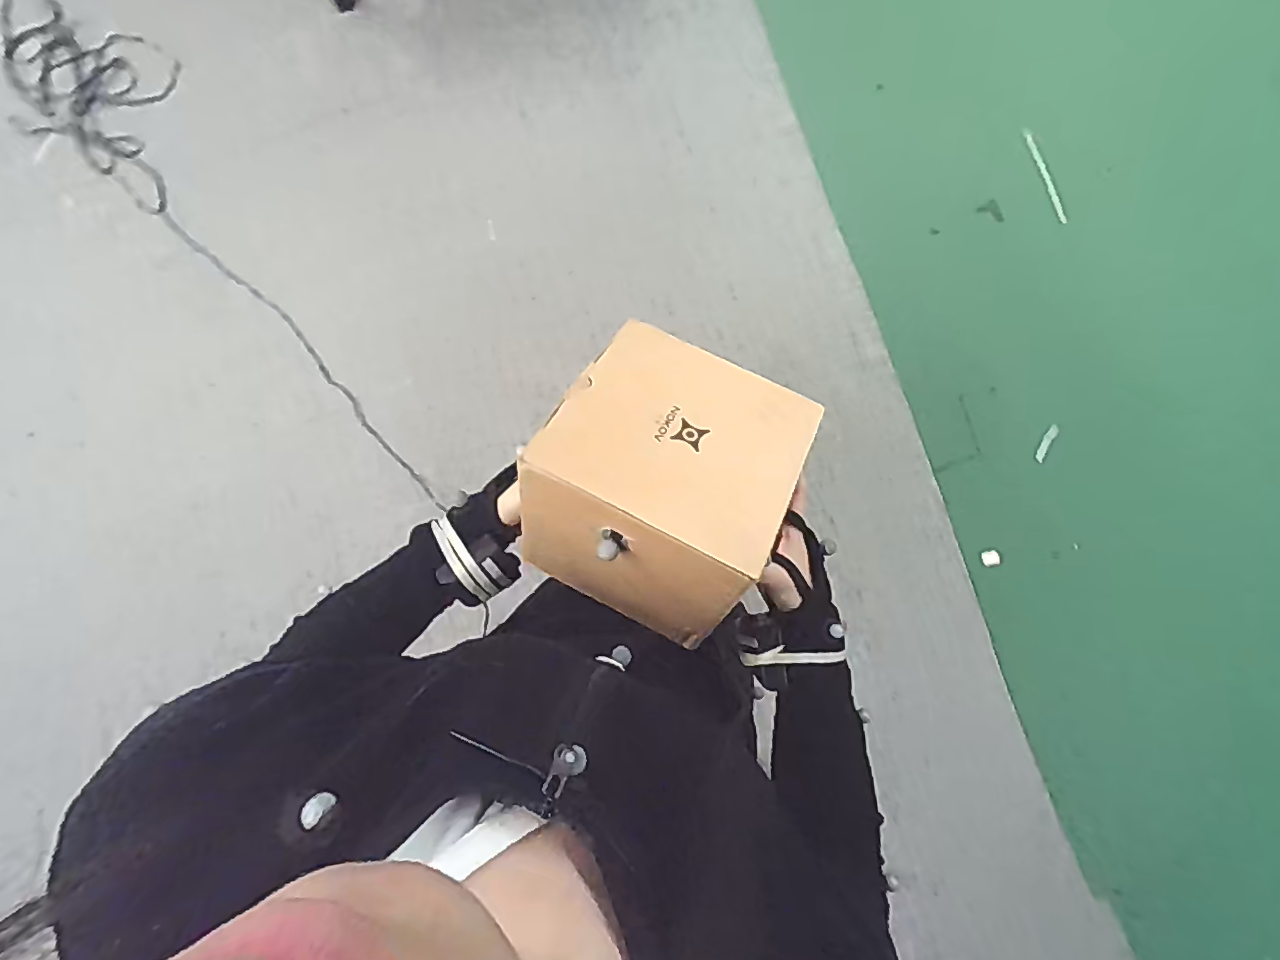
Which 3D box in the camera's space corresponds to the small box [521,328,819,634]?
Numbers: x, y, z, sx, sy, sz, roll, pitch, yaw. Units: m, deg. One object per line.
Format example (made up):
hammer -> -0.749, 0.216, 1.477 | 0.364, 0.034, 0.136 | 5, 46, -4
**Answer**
small box -> 0.020, 0.011, 0.462 | 0.179, 0.176, 0.168 | 25, 57, 8
